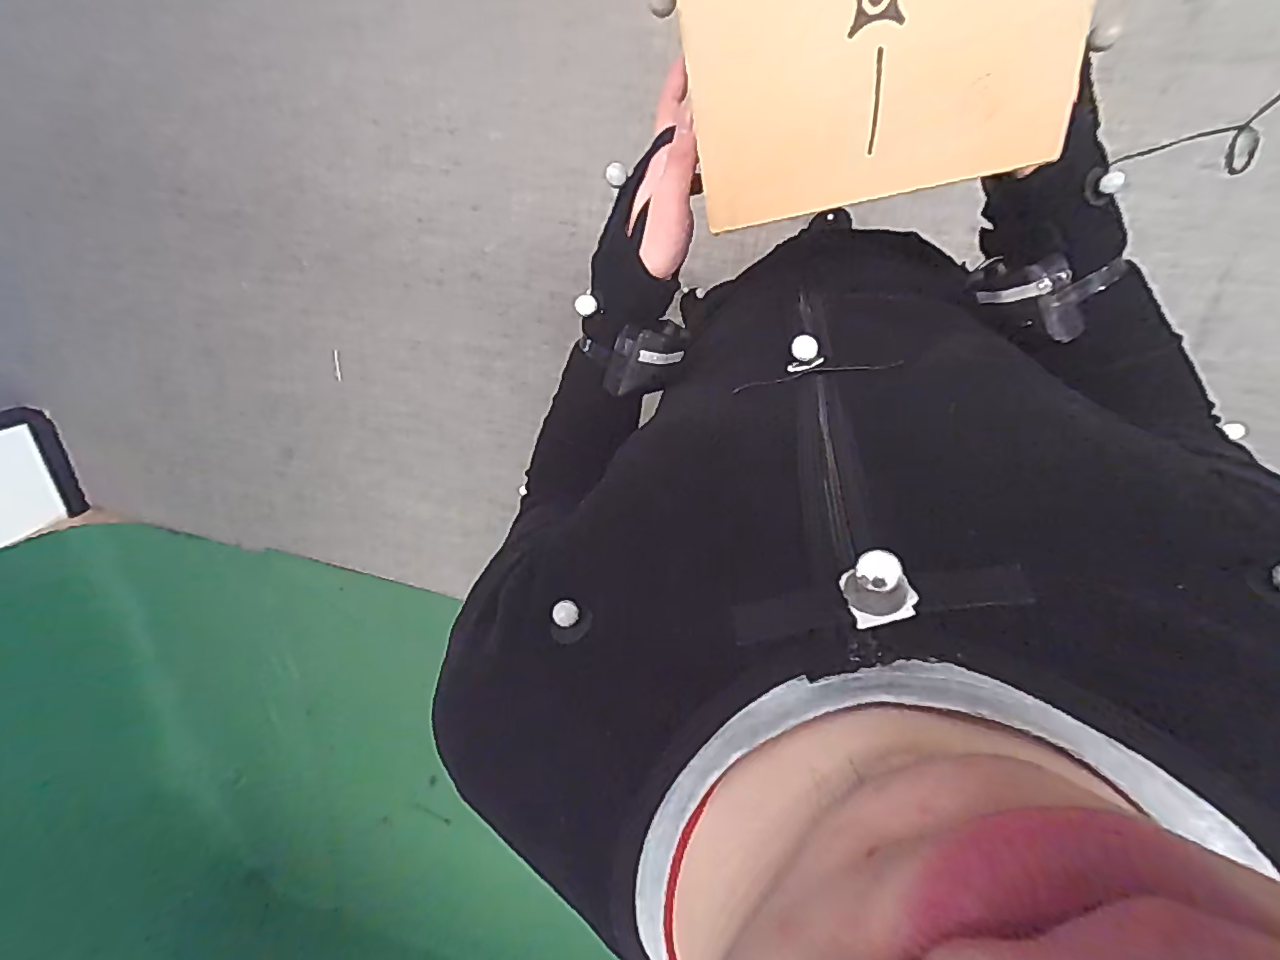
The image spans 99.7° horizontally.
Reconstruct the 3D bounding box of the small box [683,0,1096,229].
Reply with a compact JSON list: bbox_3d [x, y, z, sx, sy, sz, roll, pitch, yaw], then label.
[{"bbox_3d":[0.107,-0.257,0.283,0.168,0.176,0.179,-7,127,11],"label":"small box"}]
